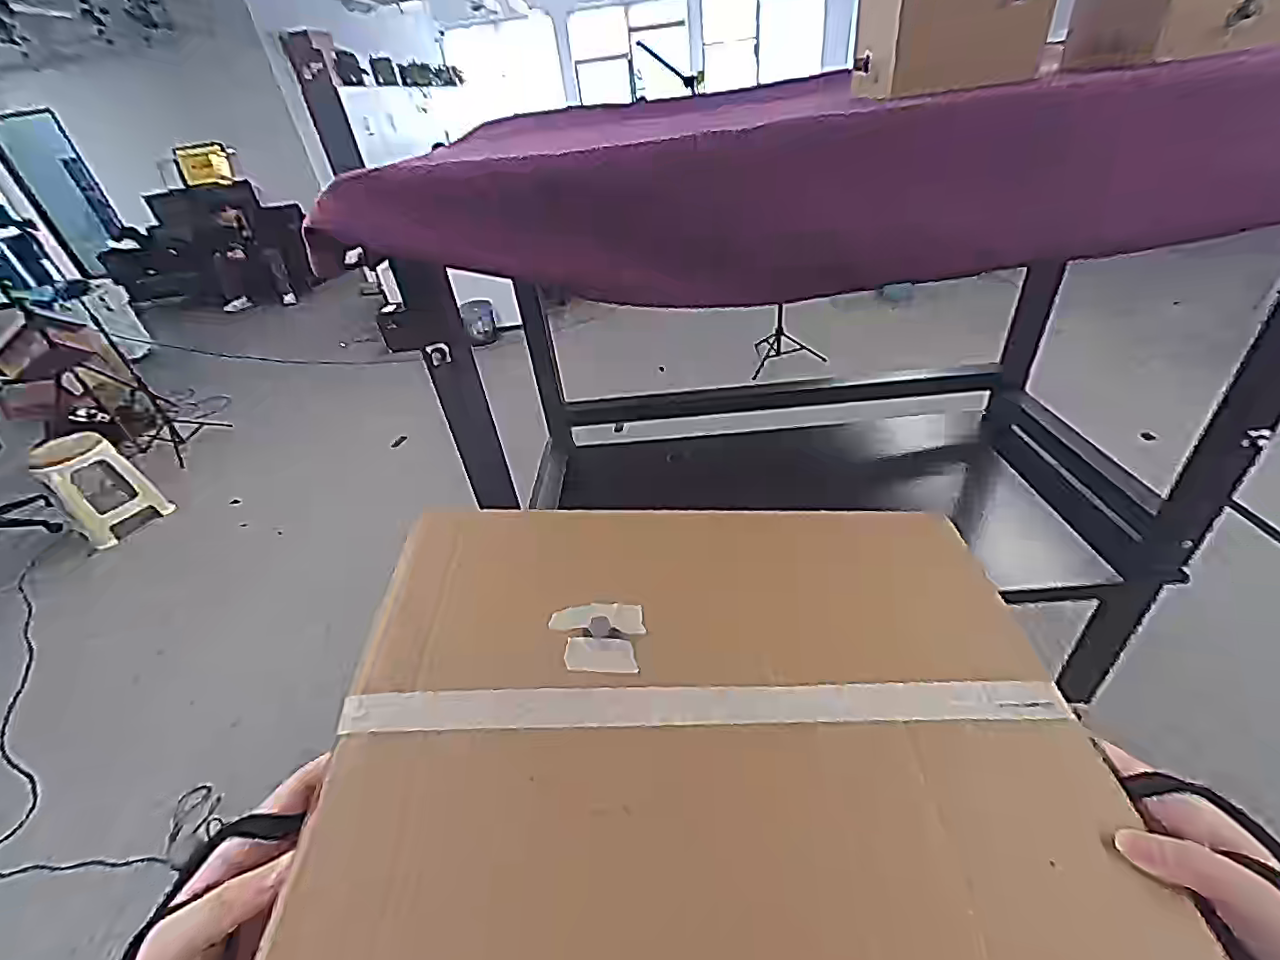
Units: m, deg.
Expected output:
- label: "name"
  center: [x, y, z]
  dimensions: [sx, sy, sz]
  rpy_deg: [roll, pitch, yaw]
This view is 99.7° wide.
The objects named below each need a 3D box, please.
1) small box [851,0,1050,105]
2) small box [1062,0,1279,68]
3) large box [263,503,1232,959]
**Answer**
- label: "small box"
  center: [0.380, -0.582, 0.671]
  dimensions: [0.179, 0.176, 0.168]
  rpy_deg: [-5, 35, 5]
- label: "small box"
  center: [0.643, -0.588, 0.619]
  dimensions: [0.179, 0.176, 0.168]
  rpy_deg: [-6, 34, 3]
- label: "large box"
  center: [0.040, 0.234, 0.396]
  dimensions: [0.408, 0.320, 0.320]
  rpy_deg: [-1, 42, -3]
